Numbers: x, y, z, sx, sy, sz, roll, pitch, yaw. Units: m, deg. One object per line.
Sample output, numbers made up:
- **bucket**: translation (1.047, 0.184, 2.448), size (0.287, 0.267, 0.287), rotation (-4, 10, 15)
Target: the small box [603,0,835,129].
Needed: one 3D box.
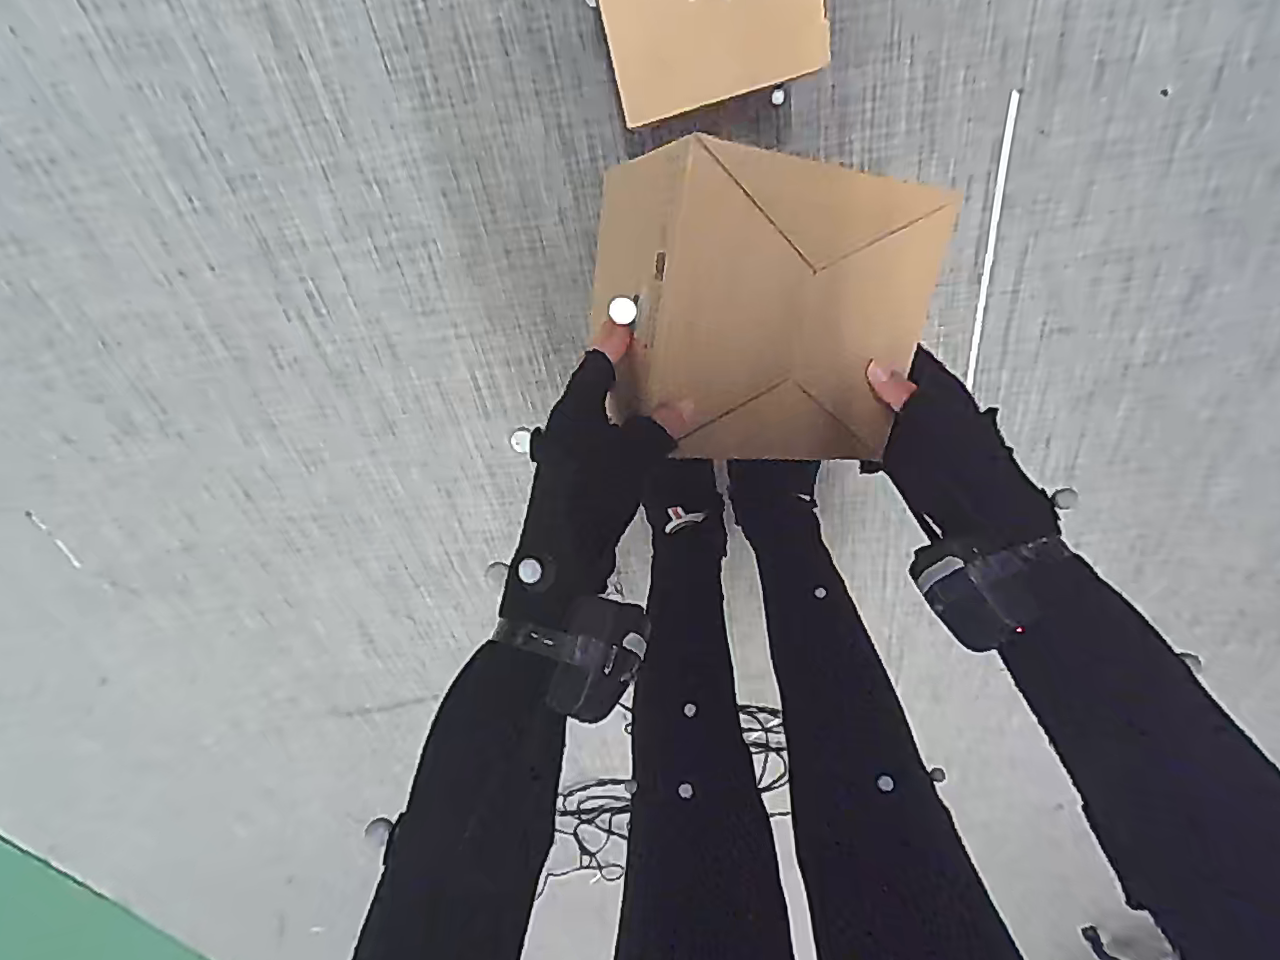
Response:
- **small box**: translation (0.060, -0.431, 0.482), size (0.179, 0.176, 0.168), rotation (-12, 121, 9)

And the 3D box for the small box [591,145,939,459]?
- **small box**: translation (0.074, -0.119, 0.380), size (0.179, 0.176, 0.168), rotation (0, 114, -20)
